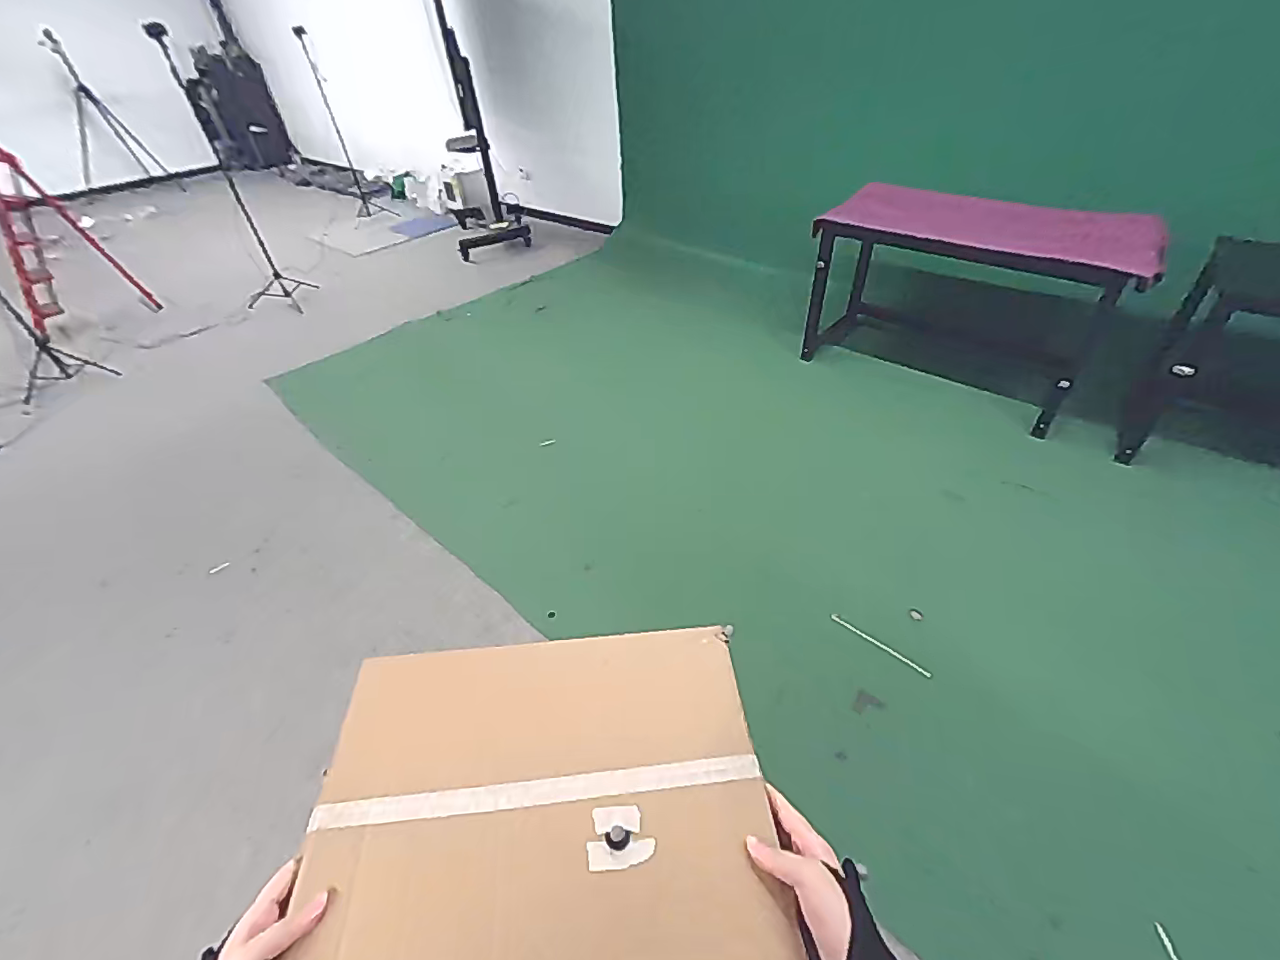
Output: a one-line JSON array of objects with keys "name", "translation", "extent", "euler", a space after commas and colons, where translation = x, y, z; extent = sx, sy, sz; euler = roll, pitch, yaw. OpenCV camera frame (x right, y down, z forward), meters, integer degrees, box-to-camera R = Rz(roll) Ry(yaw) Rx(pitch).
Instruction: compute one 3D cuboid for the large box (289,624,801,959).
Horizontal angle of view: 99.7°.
[{"name": "large box", "translation": [-0.089, 0.396, 0.610], "extent": [0.408, 0.320, 0.320], "euler": [-3, 43, -5]}]
